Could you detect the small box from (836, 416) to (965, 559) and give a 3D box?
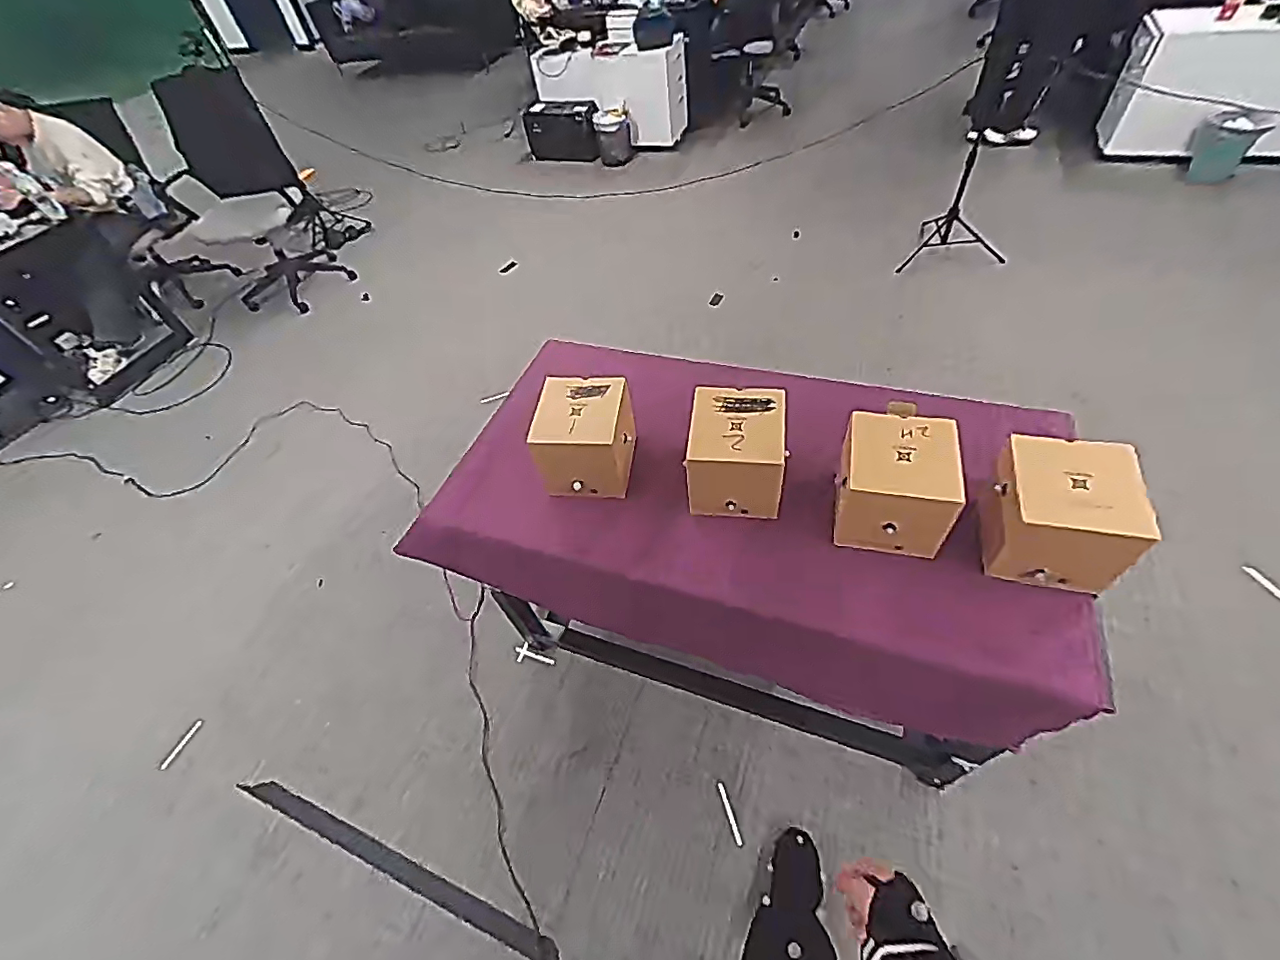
[{"bbox_3d":[0.439,0.015,0.932,0.168,0.176,0.179,8,53,15],"label":"small box"}]

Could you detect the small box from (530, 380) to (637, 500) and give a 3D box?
[{"bbox_3d":[-0.104,-0.081,1.092,0.168,0.176,0.179,2,53,10],"label":"small box"}]

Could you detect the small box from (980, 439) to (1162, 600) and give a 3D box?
[{"bbox_3d":[0.662,0.062,0.859,0.168,0.176,0.179,8,53,17],"label":"small box"}]
